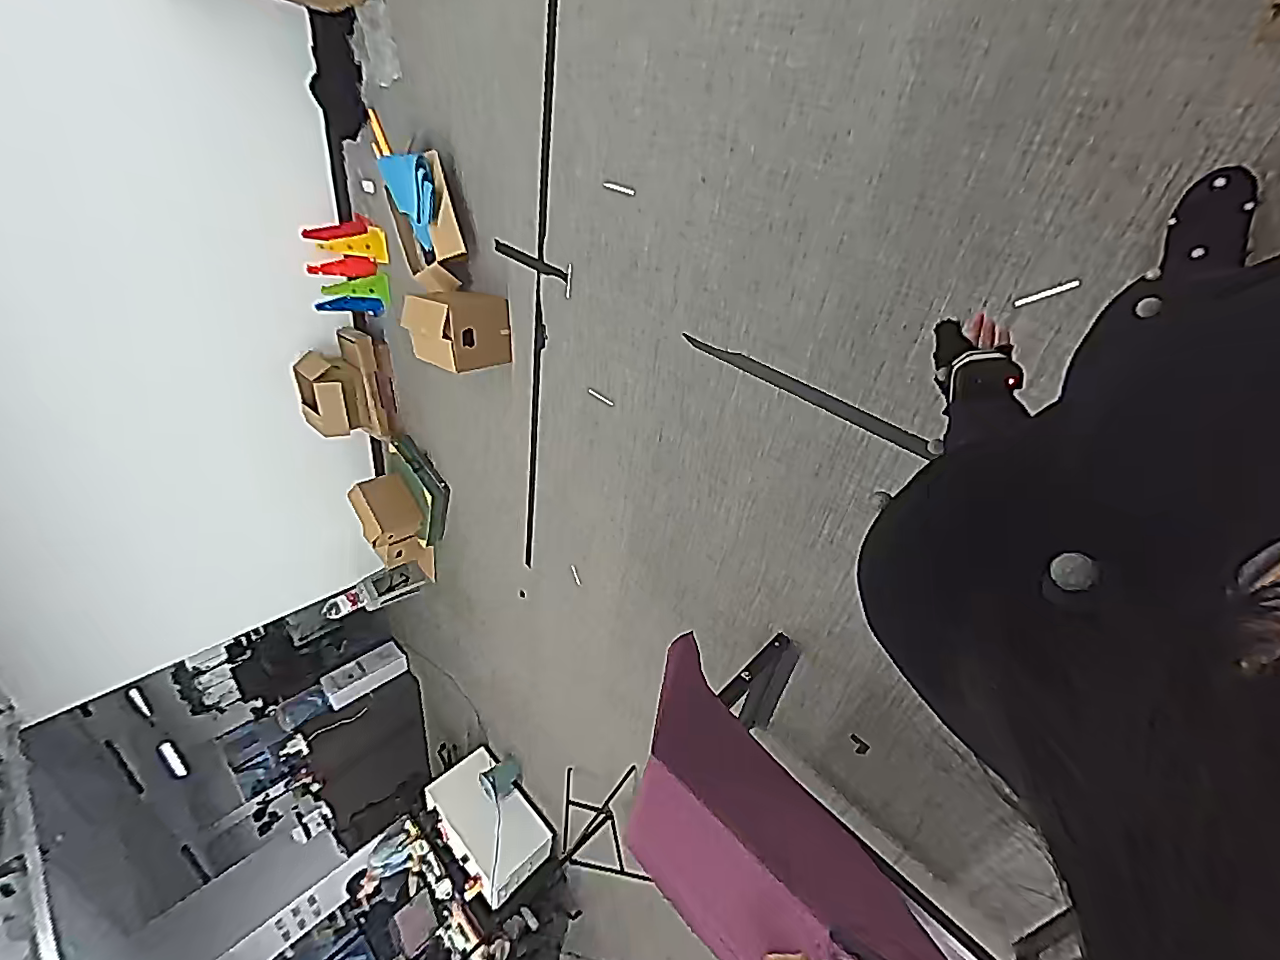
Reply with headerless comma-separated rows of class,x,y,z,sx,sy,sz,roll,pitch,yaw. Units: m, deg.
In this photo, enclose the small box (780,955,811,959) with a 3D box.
small box,0.413,1.339,1.350,0.179,0.176,0.168,49,139,18
